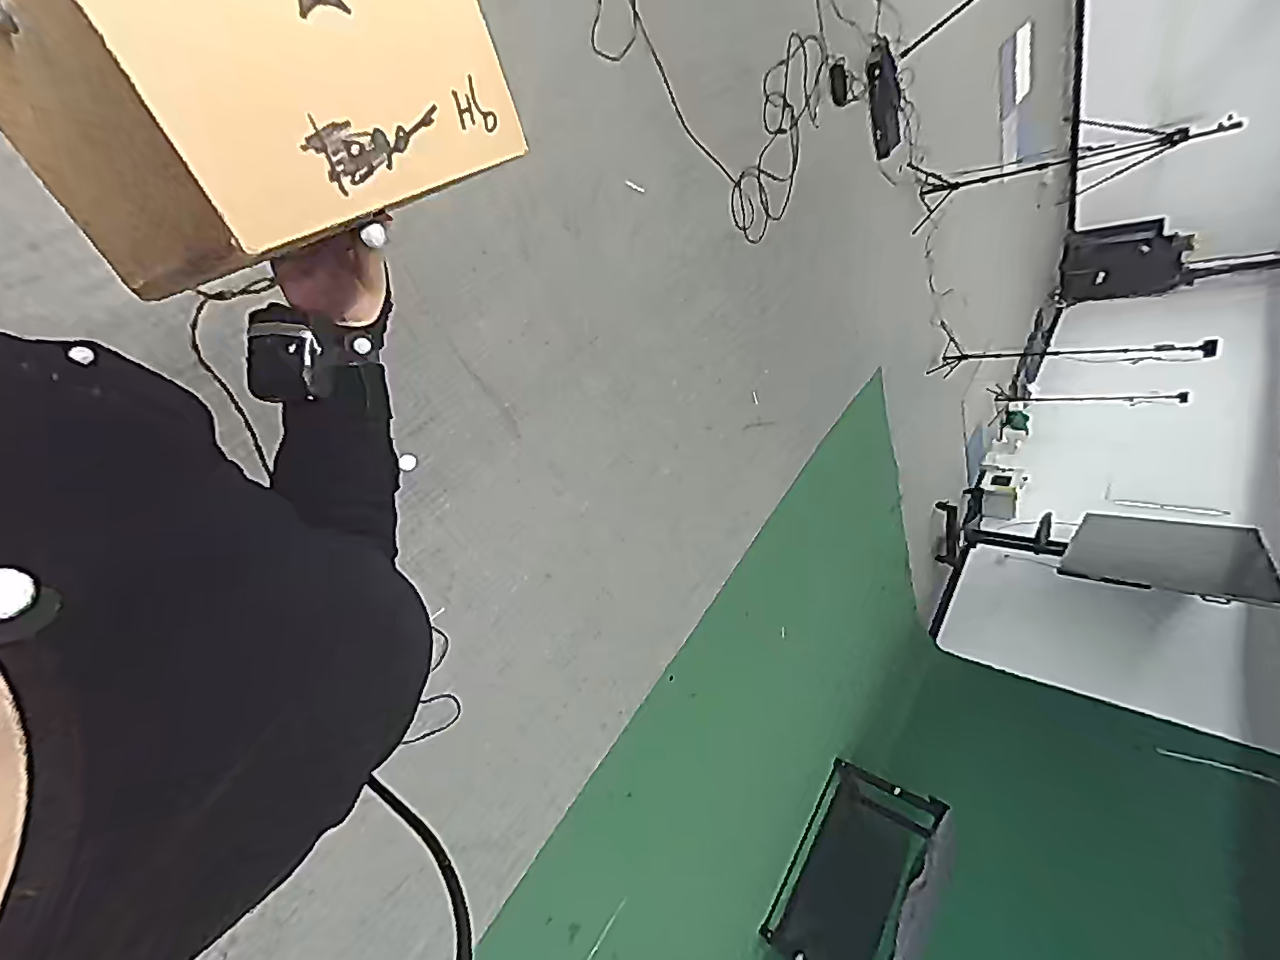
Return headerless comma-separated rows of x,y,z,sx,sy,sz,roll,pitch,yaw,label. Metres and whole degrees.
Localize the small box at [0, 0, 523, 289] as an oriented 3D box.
-0.199,-0.215,0.263,0.168,0.176,0.179,-49,130,-37,small box
